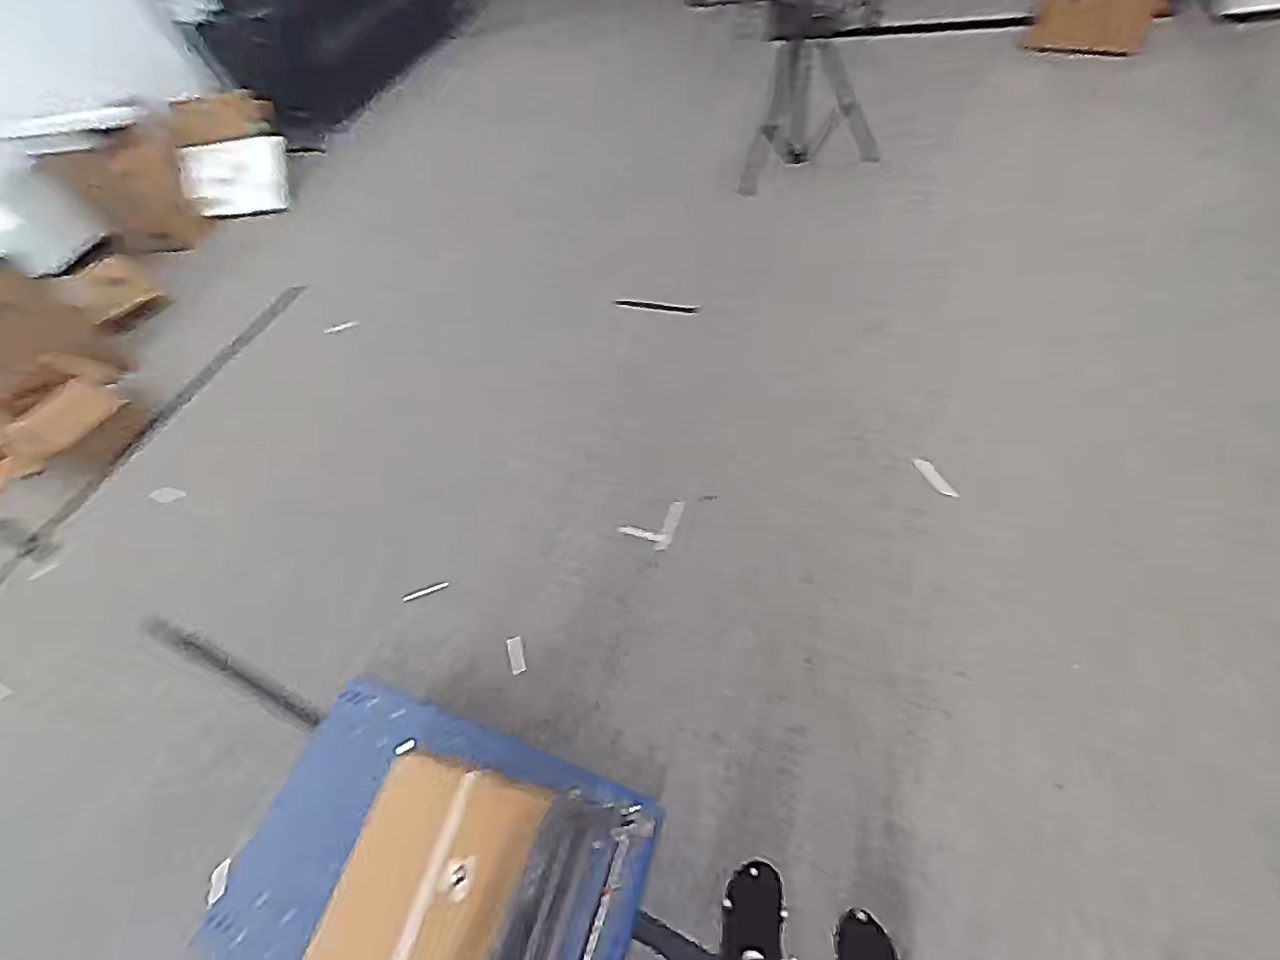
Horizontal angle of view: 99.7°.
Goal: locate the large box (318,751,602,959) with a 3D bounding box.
[{"bbox_3d":[-0.299,0.761,0.962,0.320,0.320,0.408,9,58,18],"label":"large box"}]
